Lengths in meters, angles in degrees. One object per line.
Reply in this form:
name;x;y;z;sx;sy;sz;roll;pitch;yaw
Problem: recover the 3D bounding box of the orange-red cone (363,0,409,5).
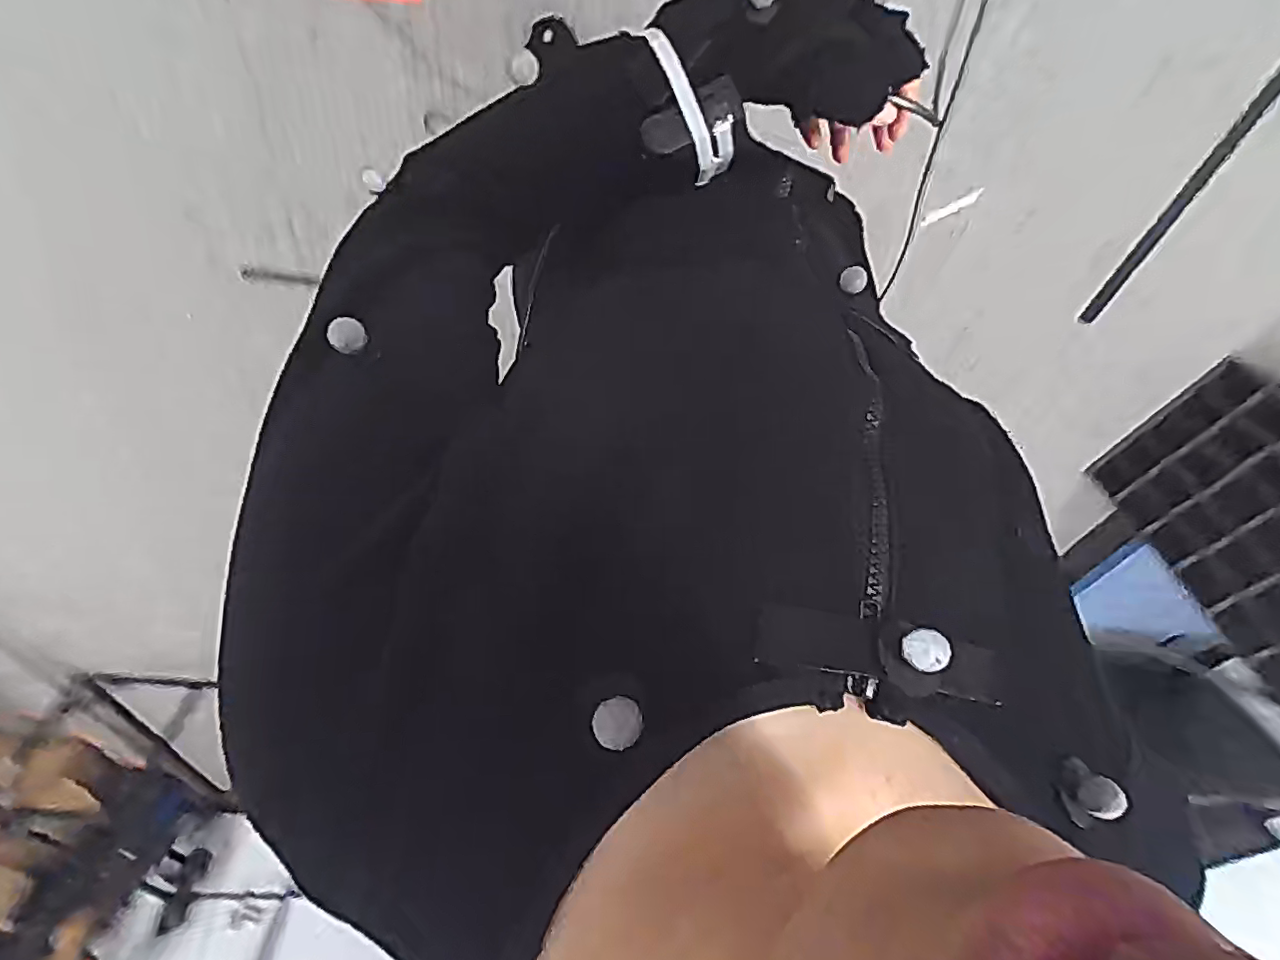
orange-red cone;-0.493;-0.819;0.792;0.199;0.360;0.198;2;135;-4
